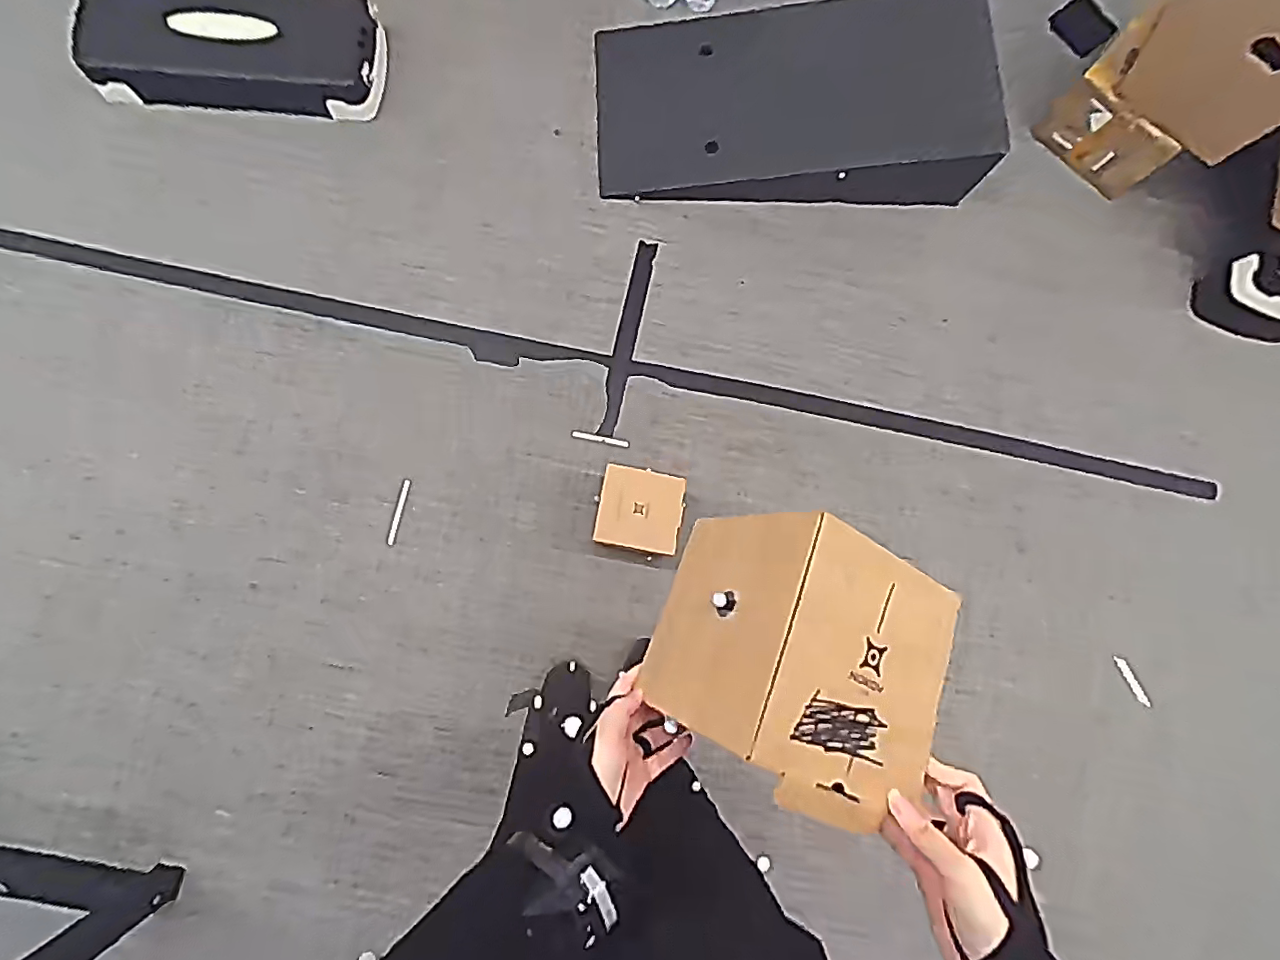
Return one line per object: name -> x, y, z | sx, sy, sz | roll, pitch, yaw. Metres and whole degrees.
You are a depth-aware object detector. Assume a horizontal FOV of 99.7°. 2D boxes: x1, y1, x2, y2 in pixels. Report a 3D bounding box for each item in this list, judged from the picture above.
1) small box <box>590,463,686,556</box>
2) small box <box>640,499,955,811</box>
small box -> -0.010, 0.071, 1.194 | 0.179, 0.176, 0.168 | 12, 80, -3
small box -> 0.121, 0.135, 0.457 | 0.168, 0.176, 0.179 | 30, 71, -21
